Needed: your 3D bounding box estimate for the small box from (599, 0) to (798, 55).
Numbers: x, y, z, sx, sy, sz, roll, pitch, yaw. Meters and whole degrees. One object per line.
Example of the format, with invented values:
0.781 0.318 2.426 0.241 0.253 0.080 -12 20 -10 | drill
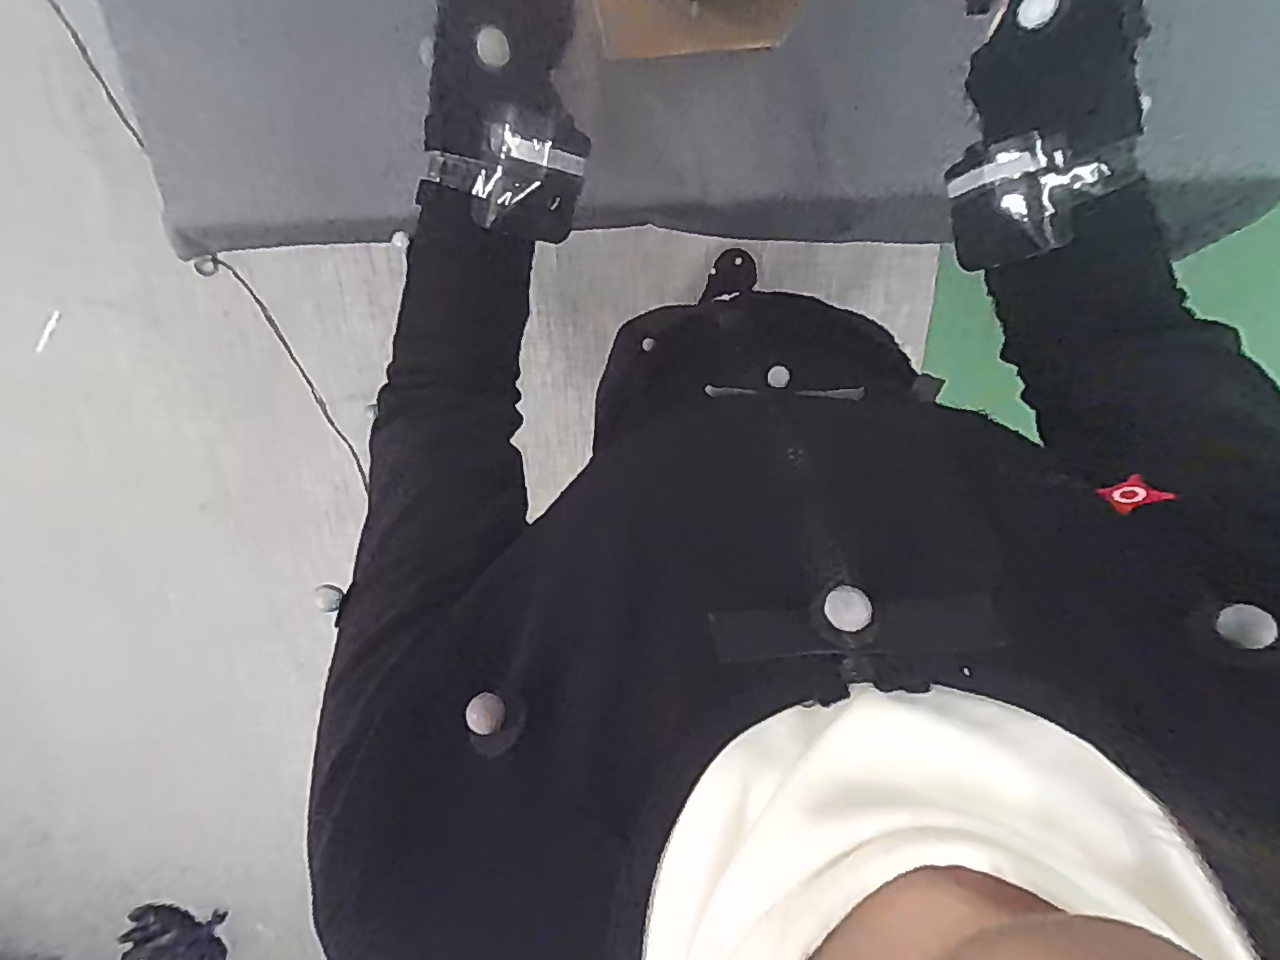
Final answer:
0.048 -0.470 0.434 0.179 0.176 0.168 -2 112 2 | small box
